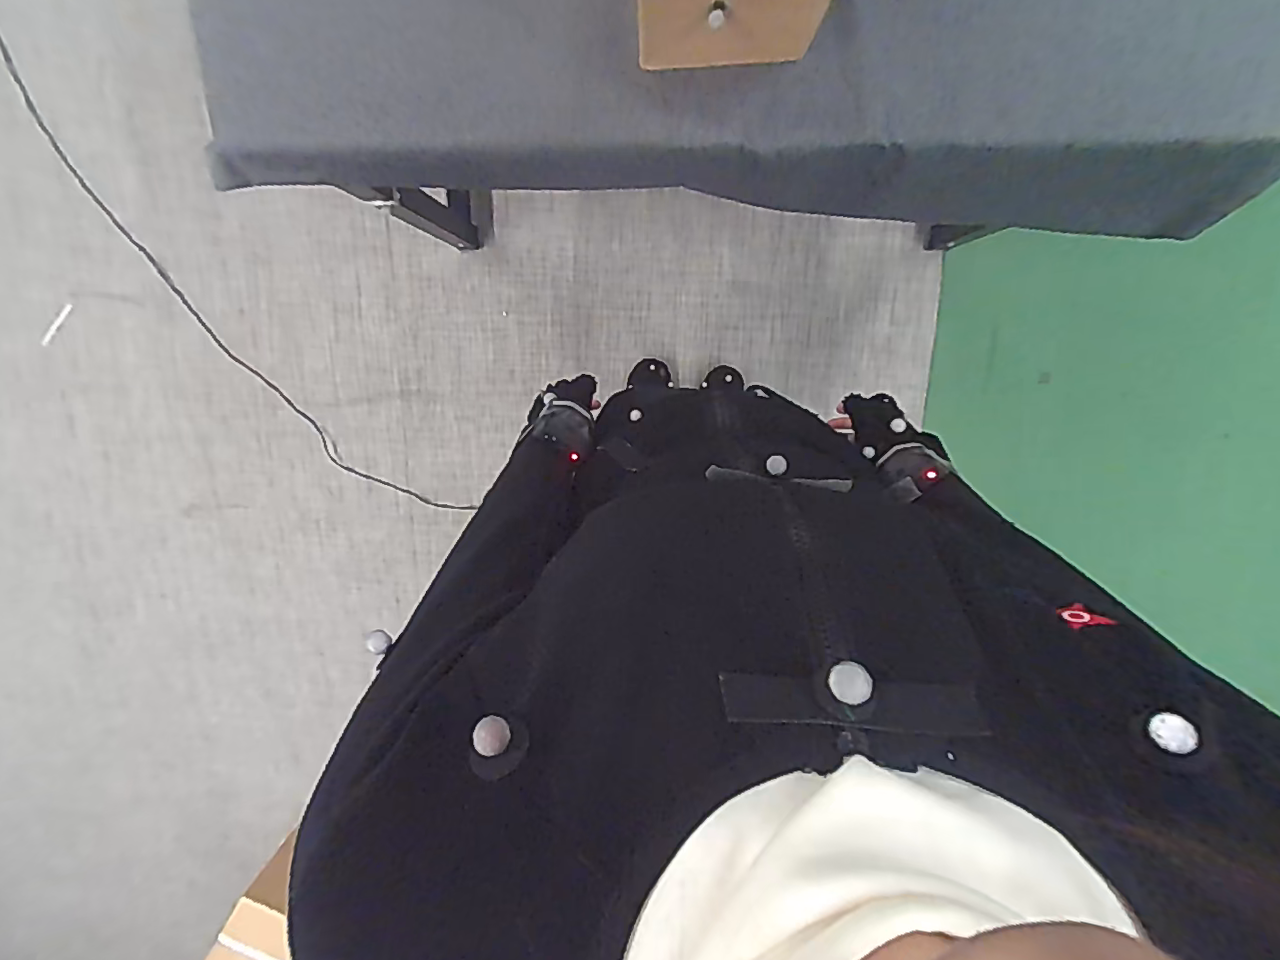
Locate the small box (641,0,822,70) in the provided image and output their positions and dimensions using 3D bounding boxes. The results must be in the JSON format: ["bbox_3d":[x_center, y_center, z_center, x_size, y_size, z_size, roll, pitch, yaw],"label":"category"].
[{"bbox_3d":[0.082,-0.514,0.494,0.179,0.176,0.168,-5,101,3],"label":"small box"}]
